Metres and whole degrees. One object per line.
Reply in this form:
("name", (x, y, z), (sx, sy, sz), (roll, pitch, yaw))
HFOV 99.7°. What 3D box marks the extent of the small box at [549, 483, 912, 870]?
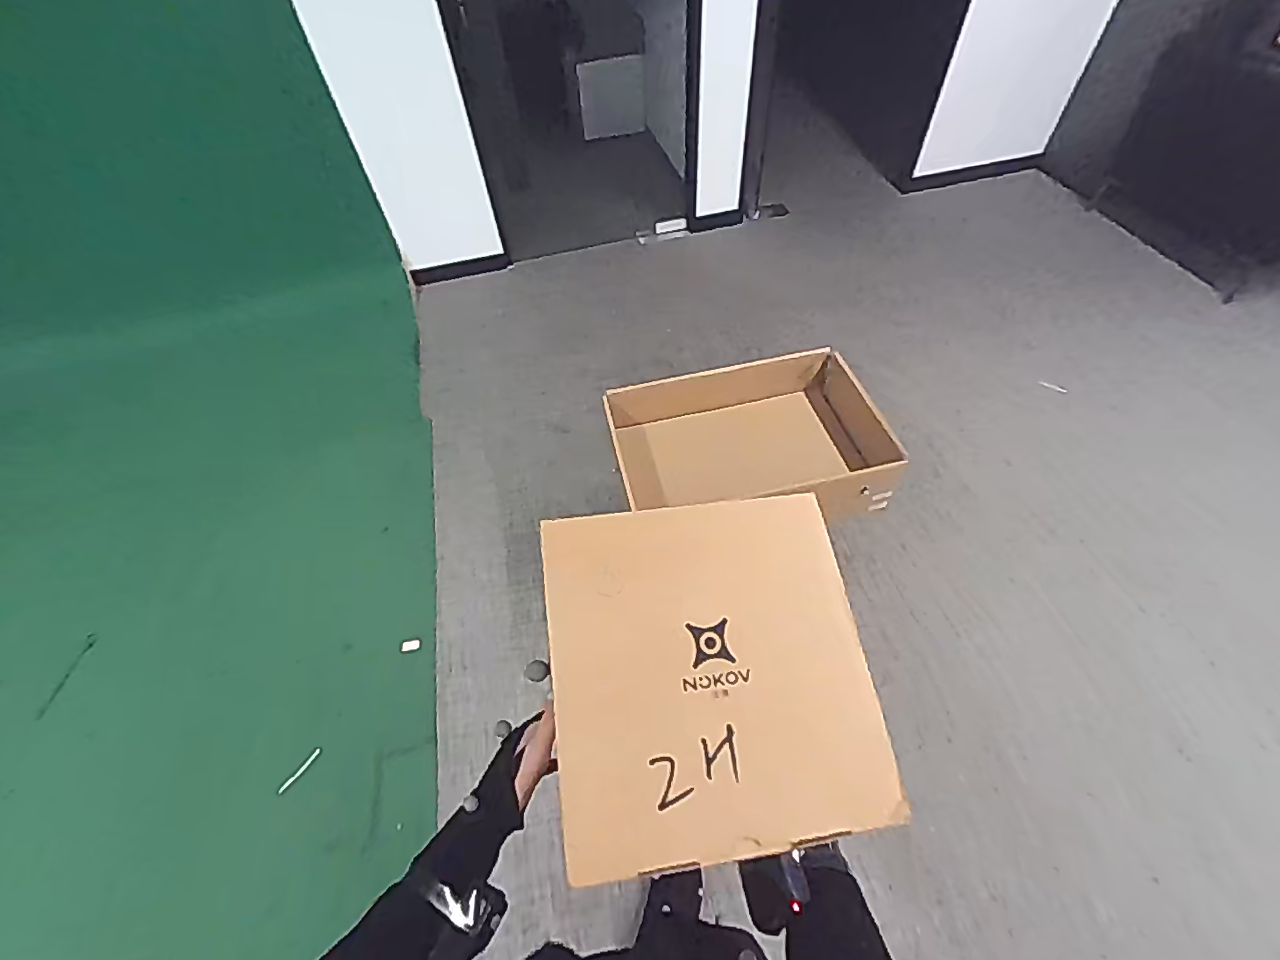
("small box", (0.031, 0.120, 0.352), (0.168, 0.176, 0.179), (-6, 66, -7))
